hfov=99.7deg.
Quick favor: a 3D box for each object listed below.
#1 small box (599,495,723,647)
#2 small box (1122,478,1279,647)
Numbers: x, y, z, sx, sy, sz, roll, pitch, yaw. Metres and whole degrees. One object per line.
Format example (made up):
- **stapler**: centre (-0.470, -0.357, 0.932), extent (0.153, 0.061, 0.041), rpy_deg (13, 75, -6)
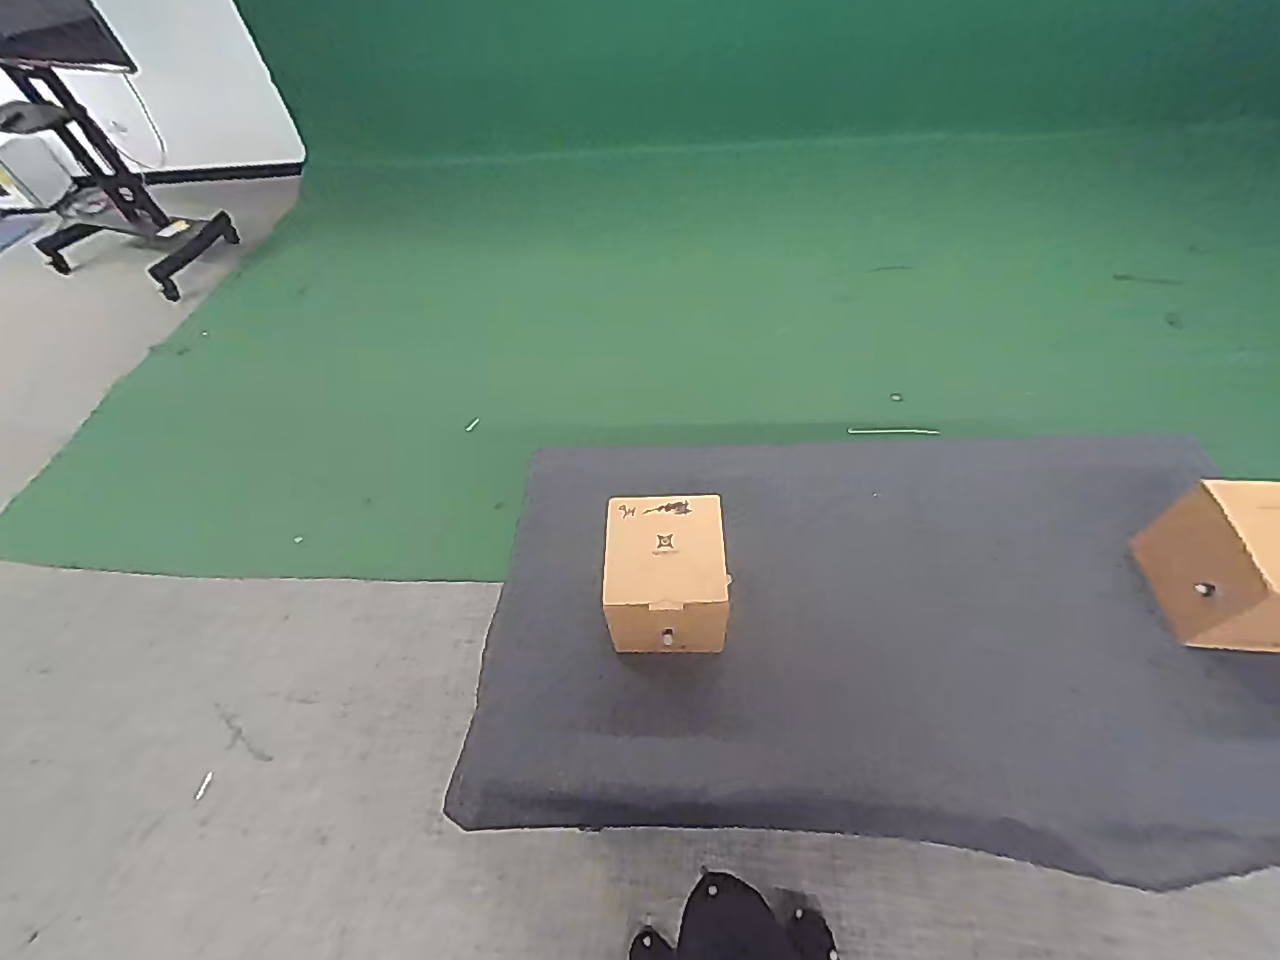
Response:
- **small box**: centre (0.035, 0.142, 0.812), extent (0.168, 0.176, 0.179), rpy_deg (-2, 52, 3)
- **small box**: centre (0.840, 0.118, 0.751), extent (0.168, 0.176, 0.179), rpy_deg (2, 51, 6)
